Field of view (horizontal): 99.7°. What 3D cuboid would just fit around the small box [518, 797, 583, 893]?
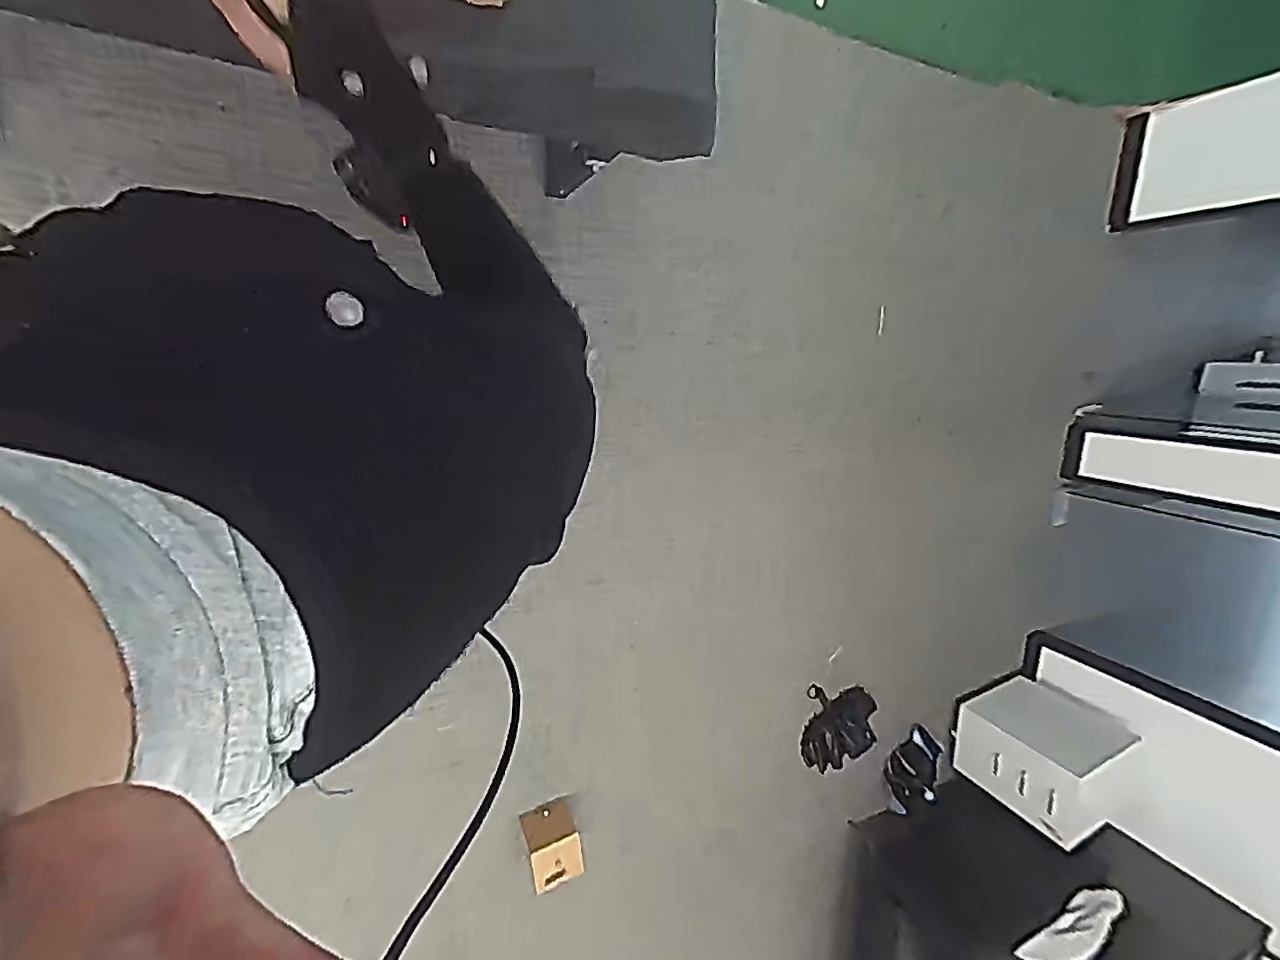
[{"bbox_3d":[-0.306,1.229,1.832,0.168,0.176,0.179,-12,107,-24],"label":"small box"}]
